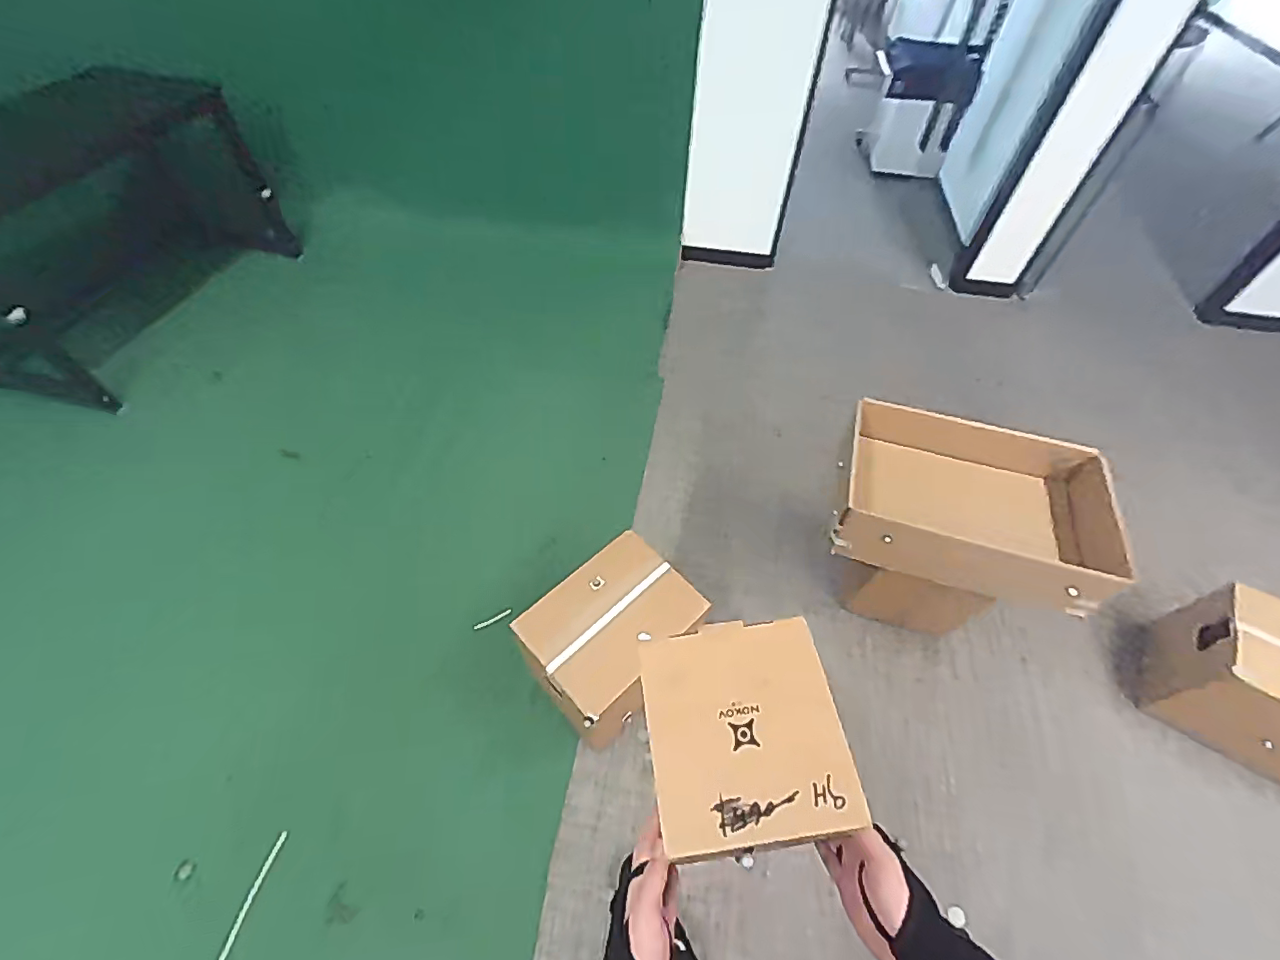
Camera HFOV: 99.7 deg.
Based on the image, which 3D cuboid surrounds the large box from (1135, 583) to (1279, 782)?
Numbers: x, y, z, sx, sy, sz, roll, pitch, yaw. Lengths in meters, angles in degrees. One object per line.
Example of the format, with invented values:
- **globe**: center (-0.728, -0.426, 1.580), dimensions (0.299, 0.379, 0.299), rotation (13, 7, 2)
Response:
- **large box**: center (1.664, 0.553, 1.436), dimensions (0.408, 0.320, 0.320), rotation (29, 57, 19)

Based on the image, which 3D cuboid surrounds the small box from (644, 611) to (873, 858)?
- **small box**: center (0.097, 0.253, 0.533), dimensions (0.168, 0.176, 0.179), rotation (-8, 53, -1)
